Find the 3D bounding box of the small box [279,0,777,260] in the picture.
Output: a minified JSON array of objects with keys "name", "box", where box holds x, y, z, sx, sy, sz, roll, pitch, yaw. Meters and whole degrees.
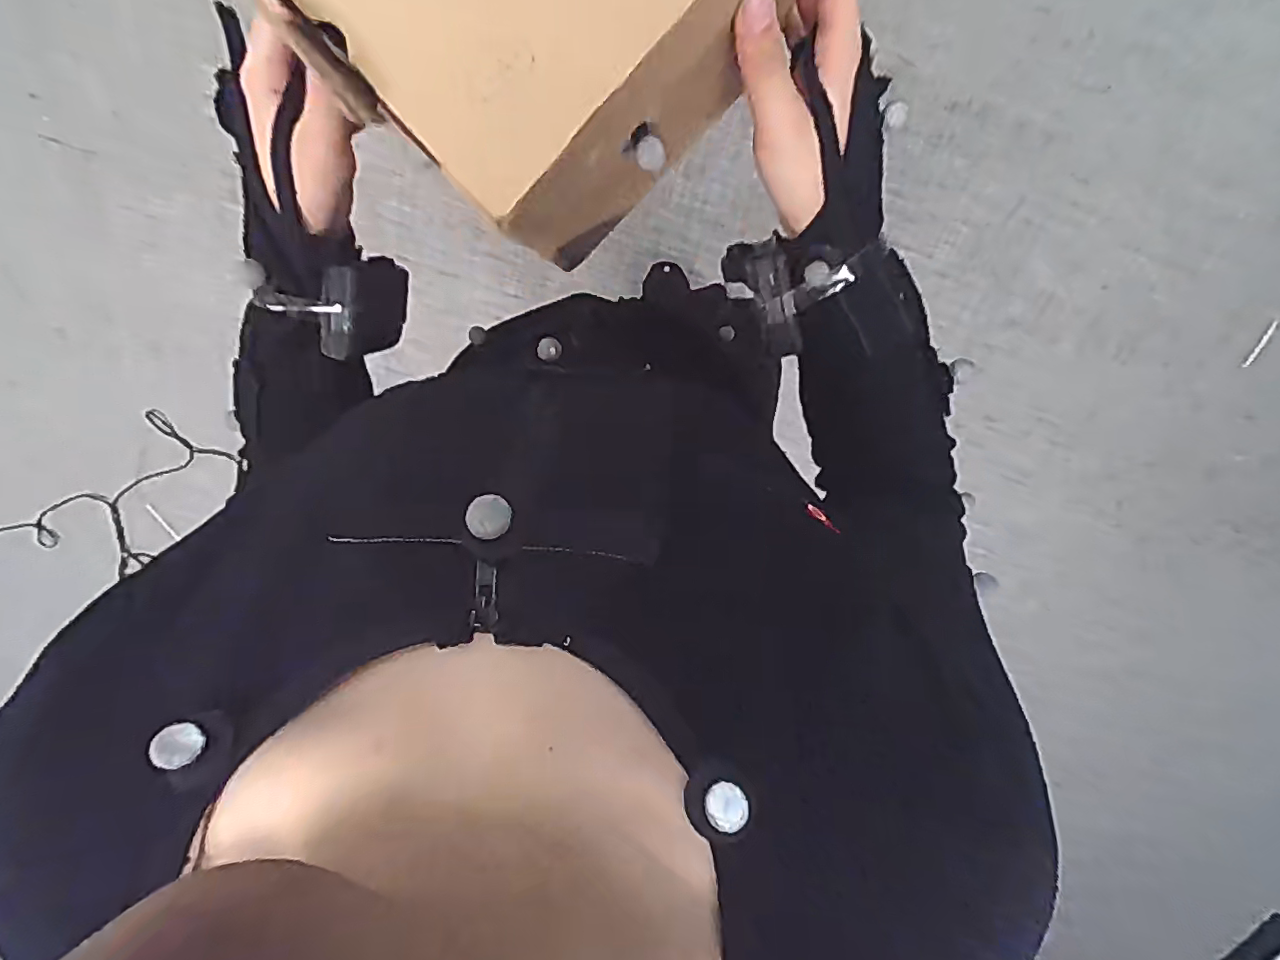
[{"name":"small box","box":[-0.044,-0.231,0.257,0.179,0.176,0.168,-42,100,12]}]
